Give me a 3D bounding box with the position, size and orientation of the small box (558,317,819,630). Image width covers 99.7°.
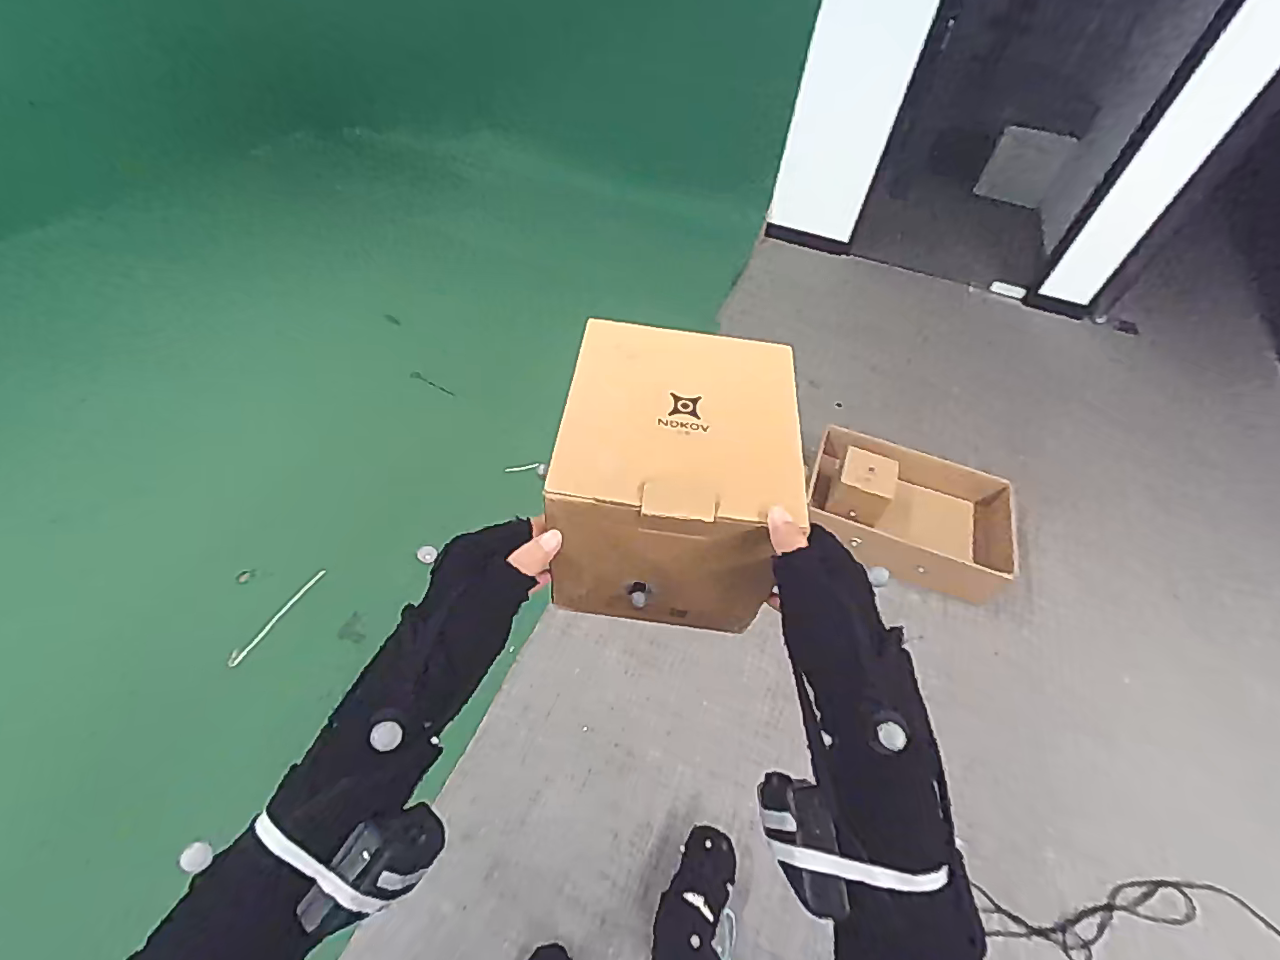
[{"bbox_3d":[0.030,0.000,0.440,0.168,0.176,0.179,9,54,-1],"label":"small box"}]

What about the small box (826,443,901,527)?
[{"bbox_3d":[0.721,0.018,1.755,0.168,0.176,0.179,21,52,11],"label":"small box"}]
